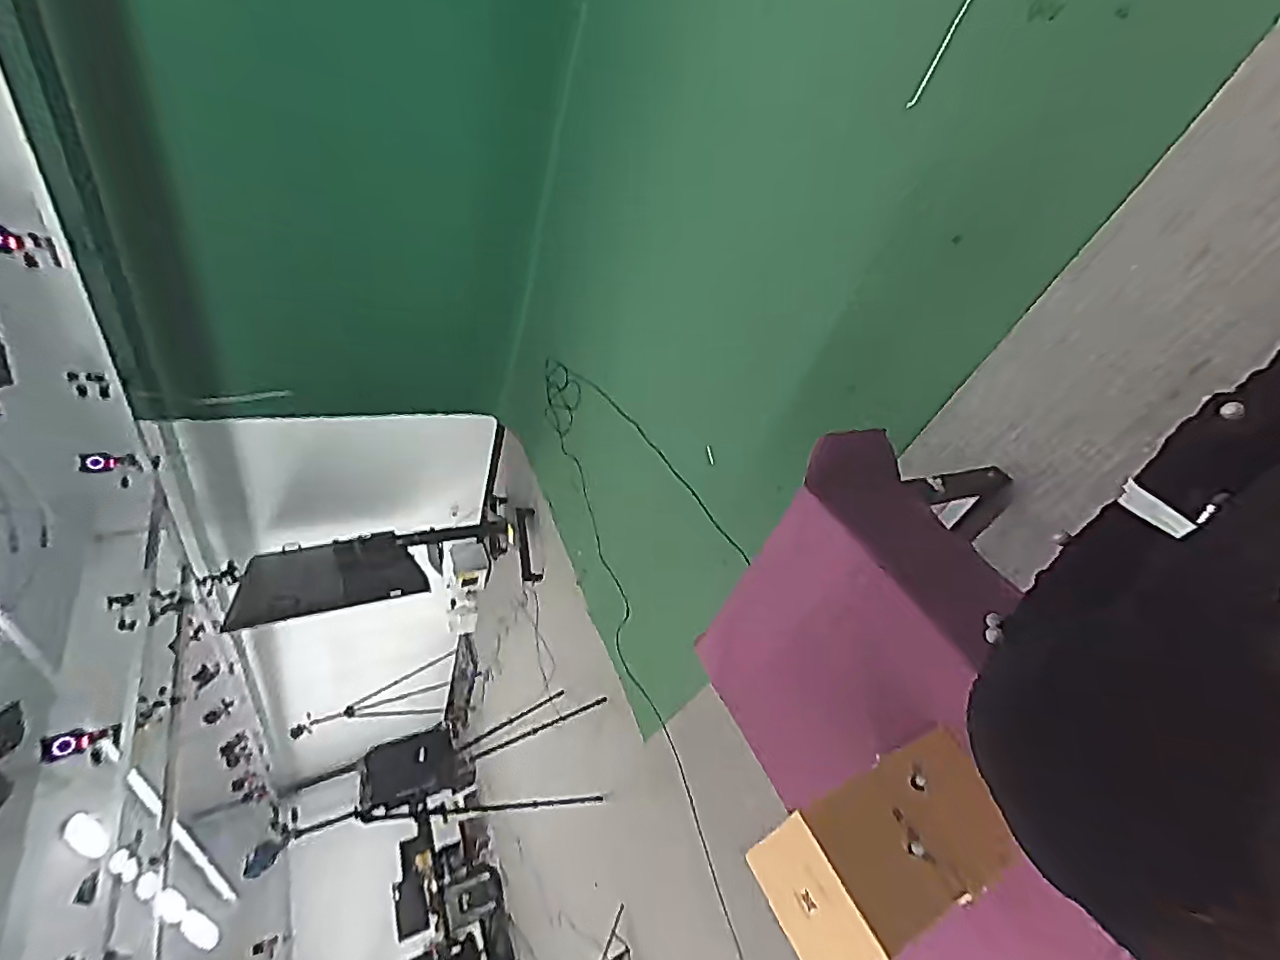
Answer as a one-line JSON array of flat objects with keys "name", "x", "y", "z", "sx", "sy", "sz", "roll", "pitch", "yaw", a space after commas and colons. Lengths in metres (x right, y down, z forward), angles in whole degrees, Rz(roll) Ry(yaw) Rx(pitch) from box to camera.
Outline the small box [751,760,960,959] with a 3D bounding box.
[{"name": "small box", "x": 0.291, "y": 0.524, "z": 0.743, "sx": 0.168, "sy": 0.176, "sz": 0.179, "roll": 56, "pitch": 139, "yaw": 37}]

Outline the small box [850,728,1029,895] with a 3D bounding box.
[{"name": "small box", "x": 0.431, "y": 0.505, "z": 0.825, "sx": 0.179, "sy": 0.176, "sz": 0.168, "roll": 57, "pitch": 141, "yaw": 37}]
